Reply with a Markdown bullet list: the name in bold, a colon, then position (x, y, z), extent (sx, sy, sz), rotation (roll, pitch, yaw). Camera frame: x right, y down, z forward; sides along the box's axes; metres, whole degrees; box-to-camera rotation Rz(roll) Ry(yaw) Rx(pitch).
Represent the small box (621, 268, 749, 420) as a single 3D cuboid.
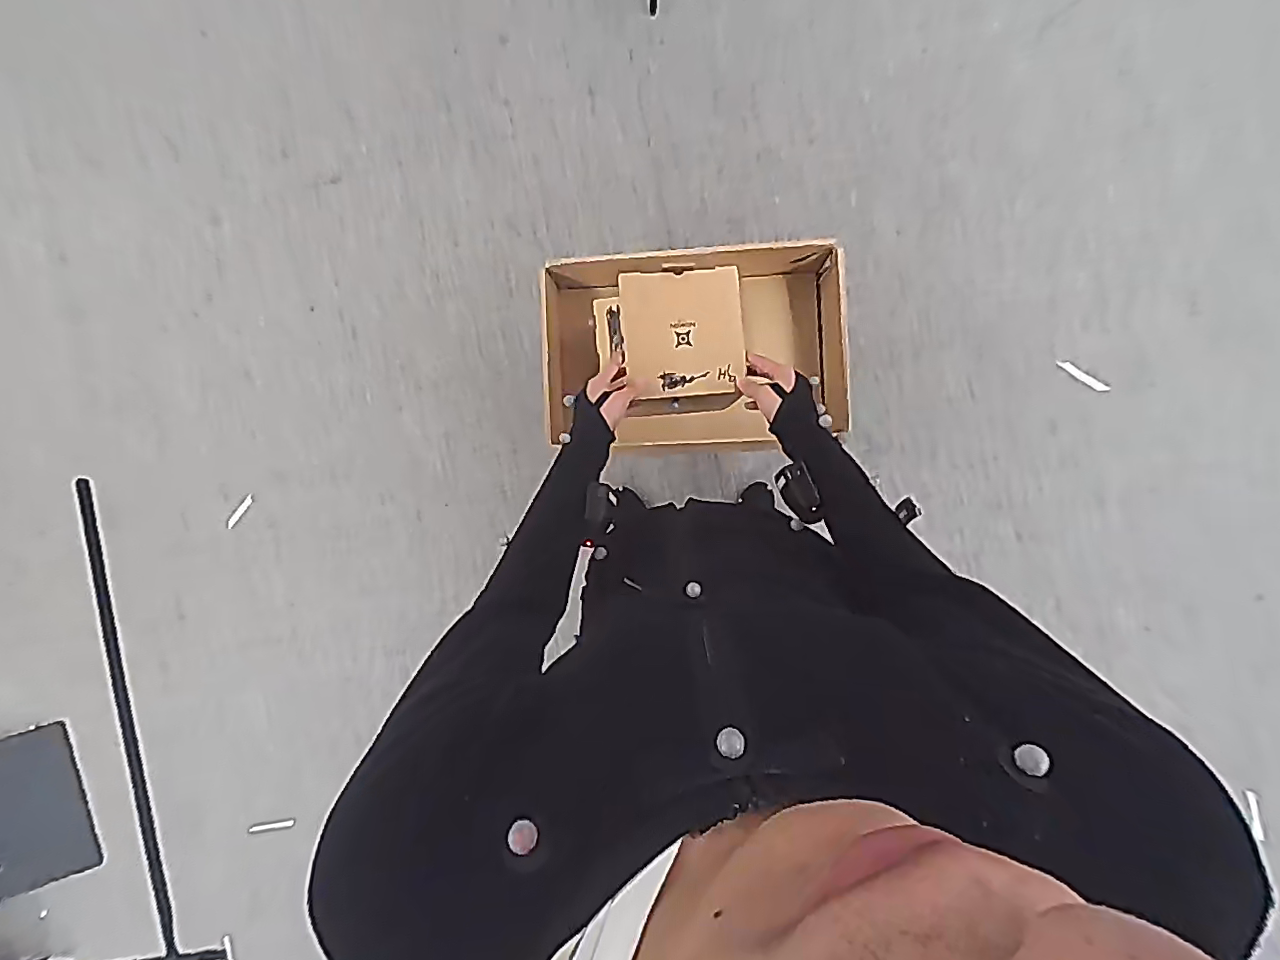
- **small box**: position (0.059, -0.194, 0.809), extent (0.168, 0.176, 0.179), rotation (-4, 88, -2)
